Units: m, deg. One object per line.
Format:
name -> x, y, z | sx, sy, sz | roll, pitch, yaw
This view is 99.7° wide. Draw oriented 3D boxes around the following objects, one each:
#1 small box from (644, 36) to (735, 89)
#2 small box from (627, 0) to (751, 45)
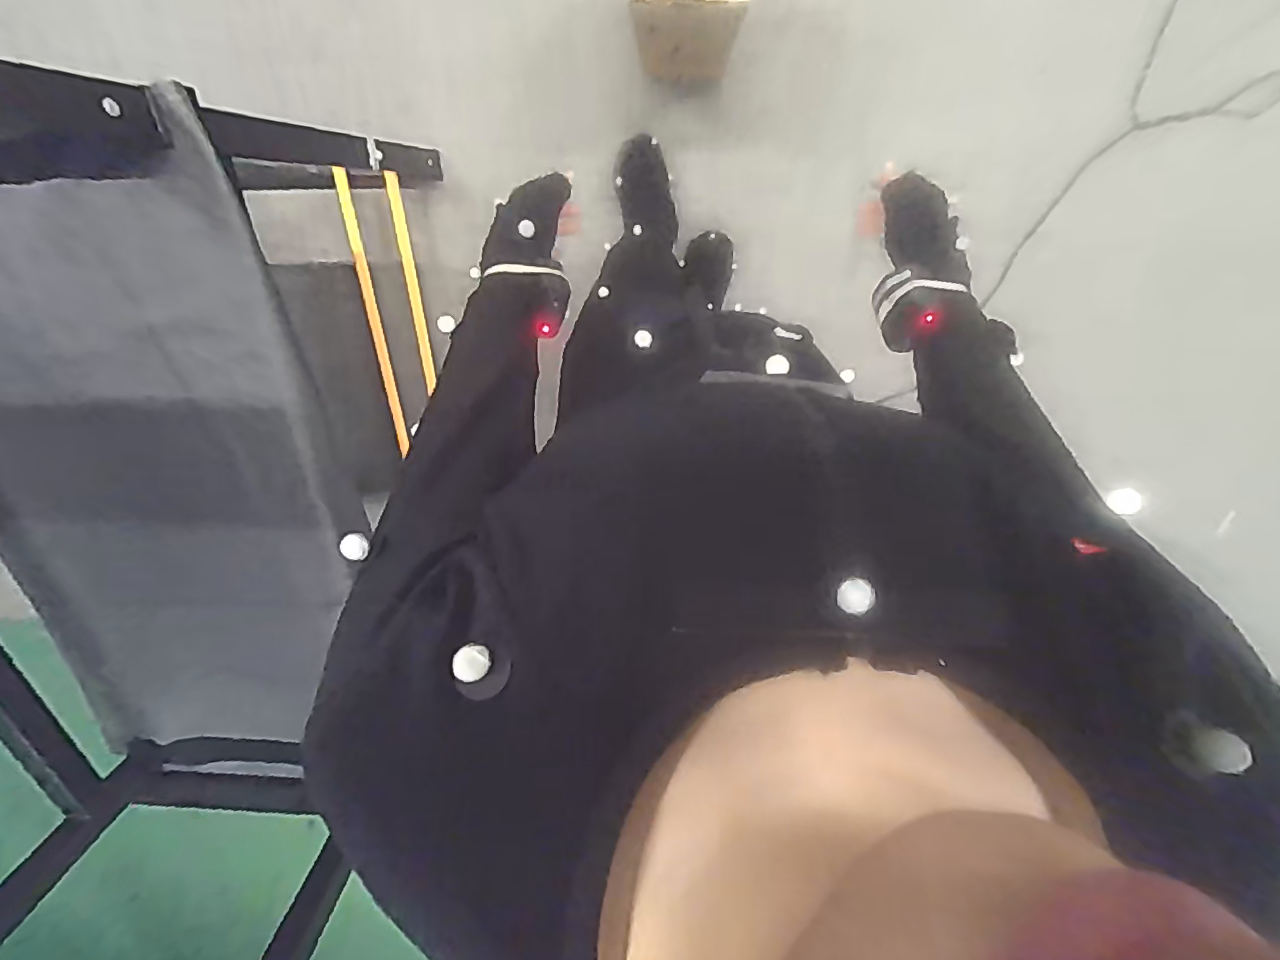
small box -> 0.102, -0.877, 1.036 | 0.168, 0.176, 0.179 | 7, 118, 2
small box -> 0.075, -0.729, 0.746 | 0.168, 0.176, 0.179 | 5, 117, 2
